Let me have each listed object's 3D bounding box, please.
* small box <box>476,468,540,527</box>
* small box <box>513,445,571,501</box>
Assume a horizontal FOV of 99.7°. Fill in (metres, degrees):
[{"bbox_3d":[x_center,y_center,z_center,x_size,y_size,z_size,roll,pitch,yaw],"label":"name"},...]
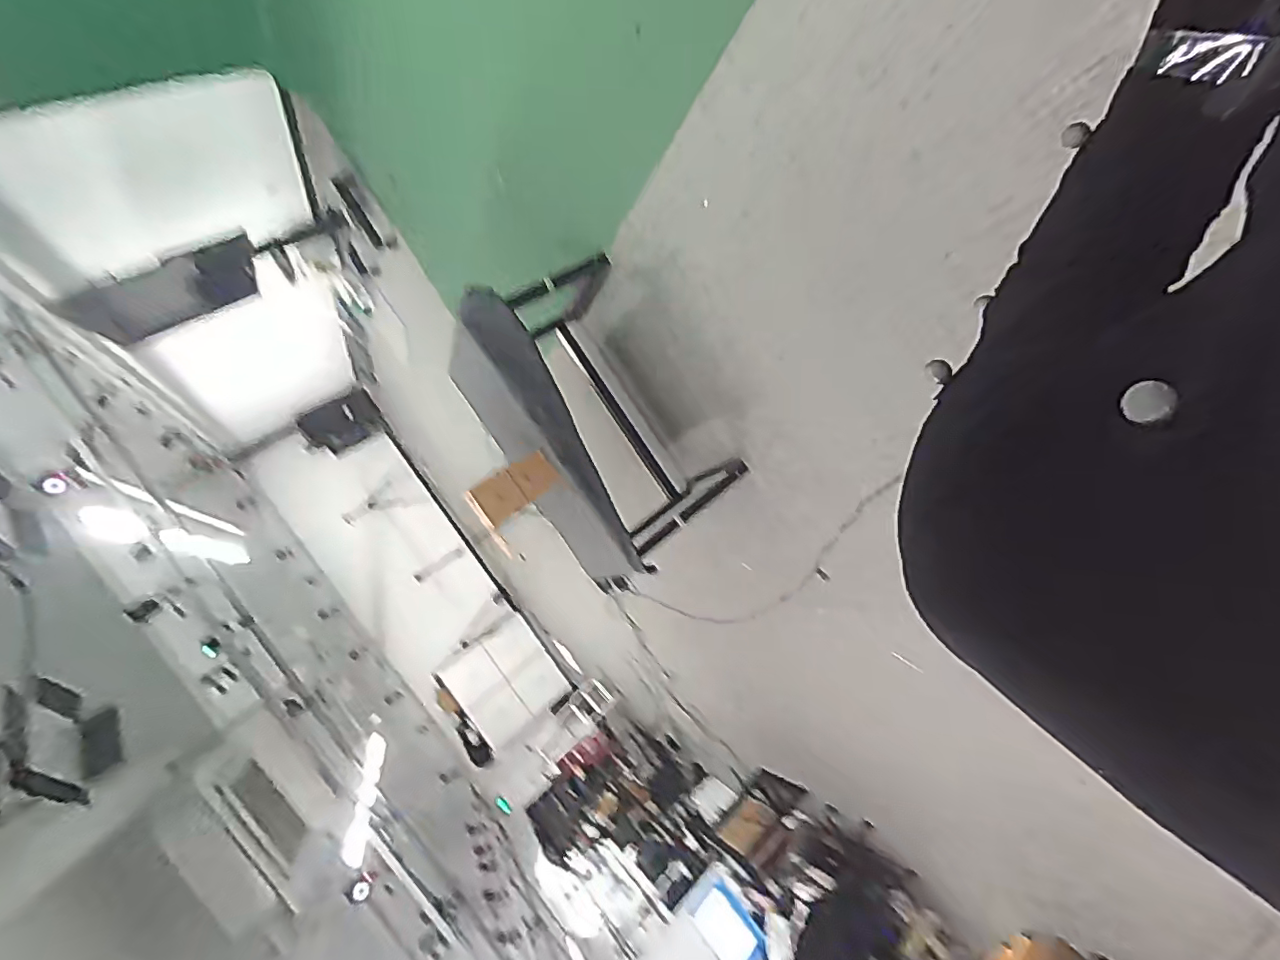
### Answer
[{"bbox_3d":[-0.533,0.066,2.174,0.179,0.176,0.168,56,156,-6],"label":"small box"},{"bbox_3d":[-0.412,-0.020,2.246,0.179,0.176,0.168,57,155,-4],"label":"small box"}]
